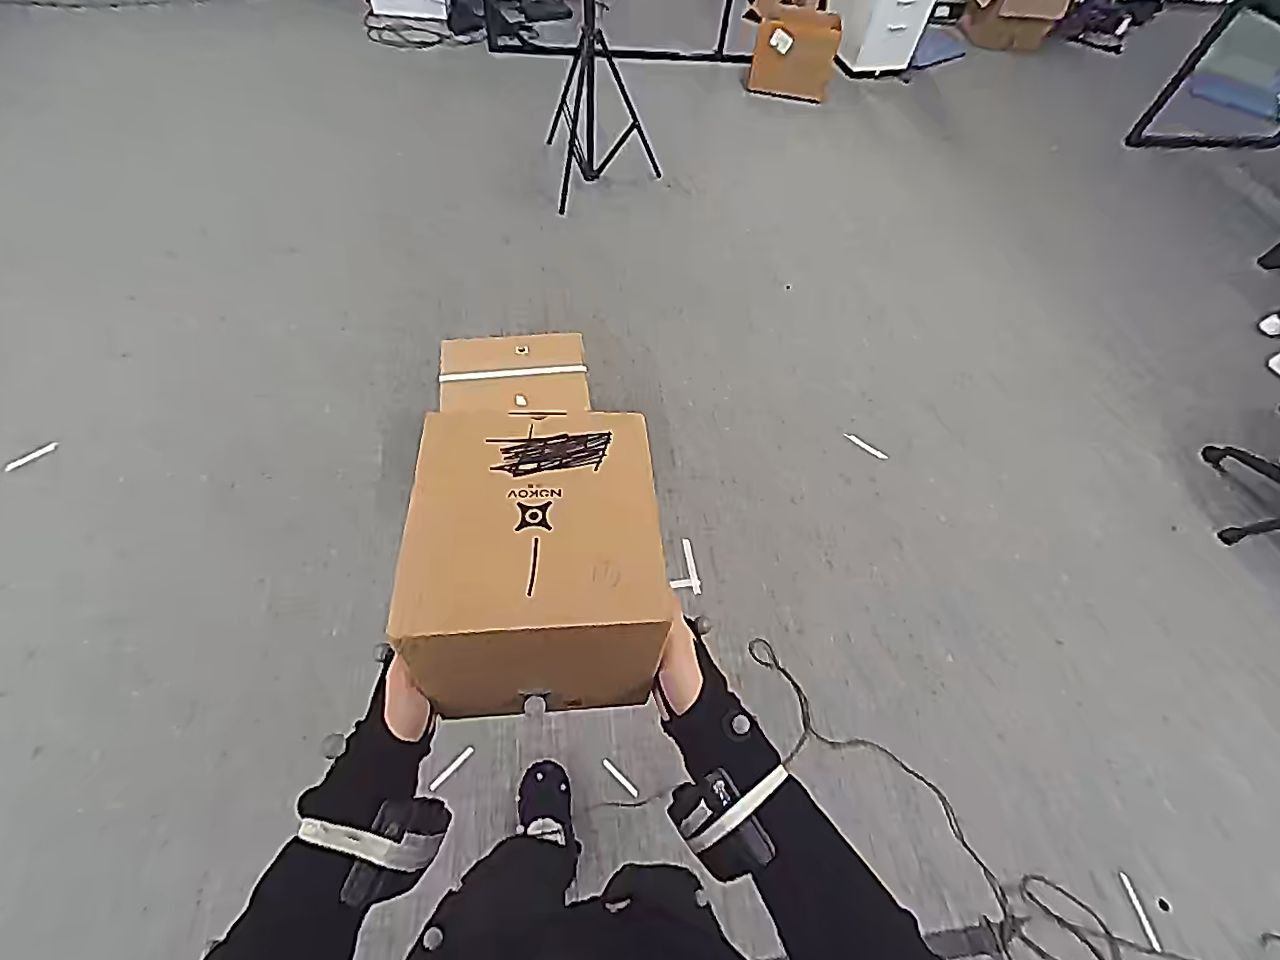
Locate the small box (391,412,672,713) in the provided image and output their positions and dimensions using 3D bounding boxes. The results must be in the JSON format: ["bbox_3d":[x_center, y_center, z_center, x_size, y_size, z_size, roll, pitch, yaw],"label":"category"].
[{"bbox_3d":[-0.076,0.066,0.427,0.168,0.176,0.179,-2,52,-7],"label":"small box"}]
